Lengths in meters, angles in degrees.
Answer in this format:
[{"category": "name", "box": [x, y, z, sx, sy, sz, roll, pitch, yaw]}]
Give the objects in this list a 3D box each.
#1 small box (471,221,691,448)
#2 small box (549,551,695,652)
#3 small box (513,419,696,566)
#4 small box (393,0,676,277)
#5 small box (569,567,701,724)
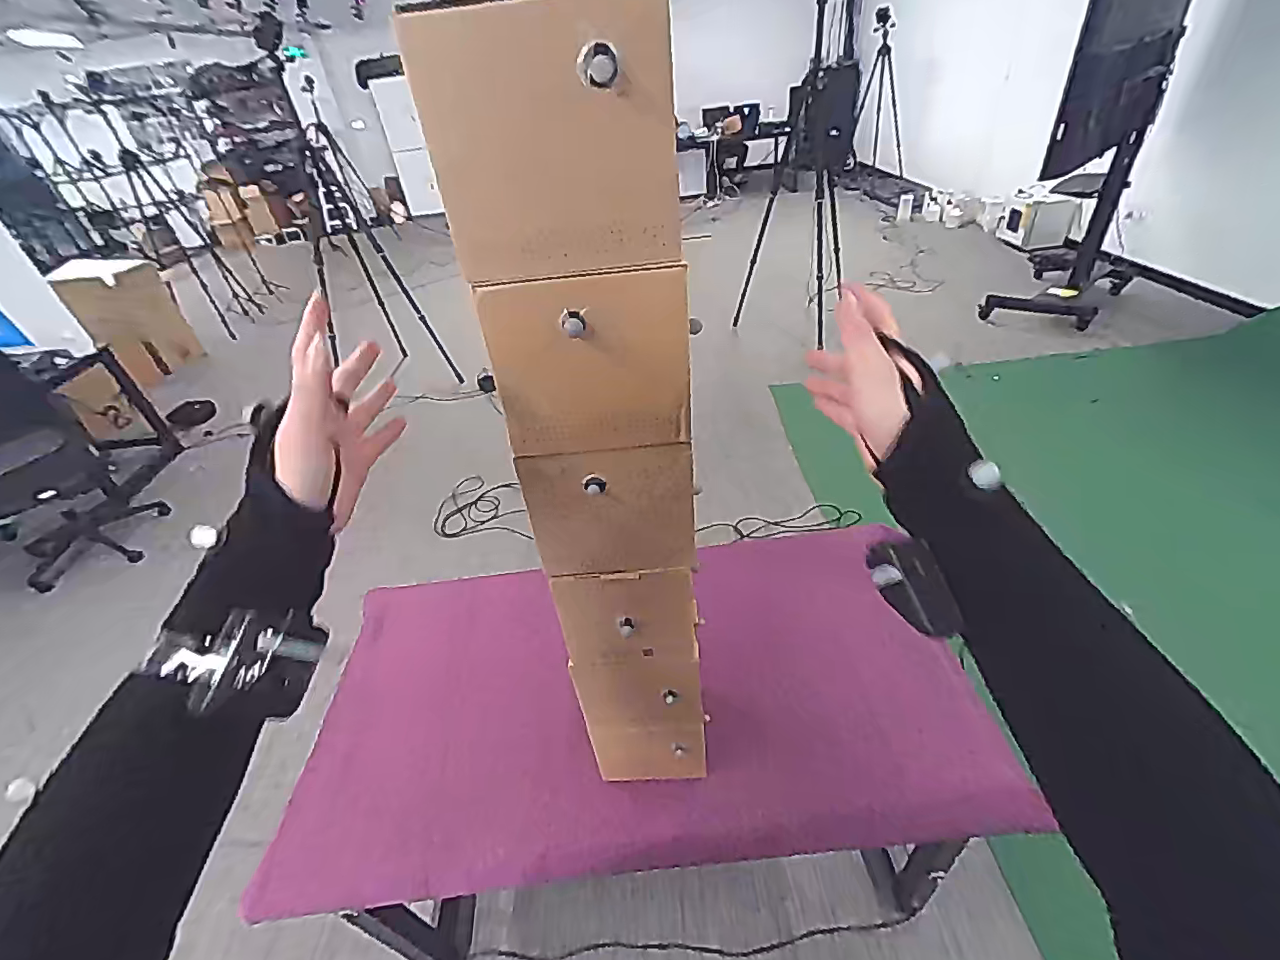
[{"category": "small box", "box": [-0.042, -0.146, 0.538, 0.179, 0.176, 0.168, -6, 37, 3]}, {"category": "small box", "box": [-0.015, 0.117, 0.729, 0.168, 0.176, 0.179, -4, 37, 4]}, {"category": "small box", "box": [-0.031, -0.015, 0.633, 0.179, 0.176, 0.168, -5, 36, 2]}, {"category": "small box", "box": [-0.062, -0.280, 0.444, 0.179, 0.176, 0.168, -5, 37, 4]}, {"category": "small box", "box": [0.002, 0.250, 0.822, 0.179, 0.176, 0.168, -5, 37, 5]}]
